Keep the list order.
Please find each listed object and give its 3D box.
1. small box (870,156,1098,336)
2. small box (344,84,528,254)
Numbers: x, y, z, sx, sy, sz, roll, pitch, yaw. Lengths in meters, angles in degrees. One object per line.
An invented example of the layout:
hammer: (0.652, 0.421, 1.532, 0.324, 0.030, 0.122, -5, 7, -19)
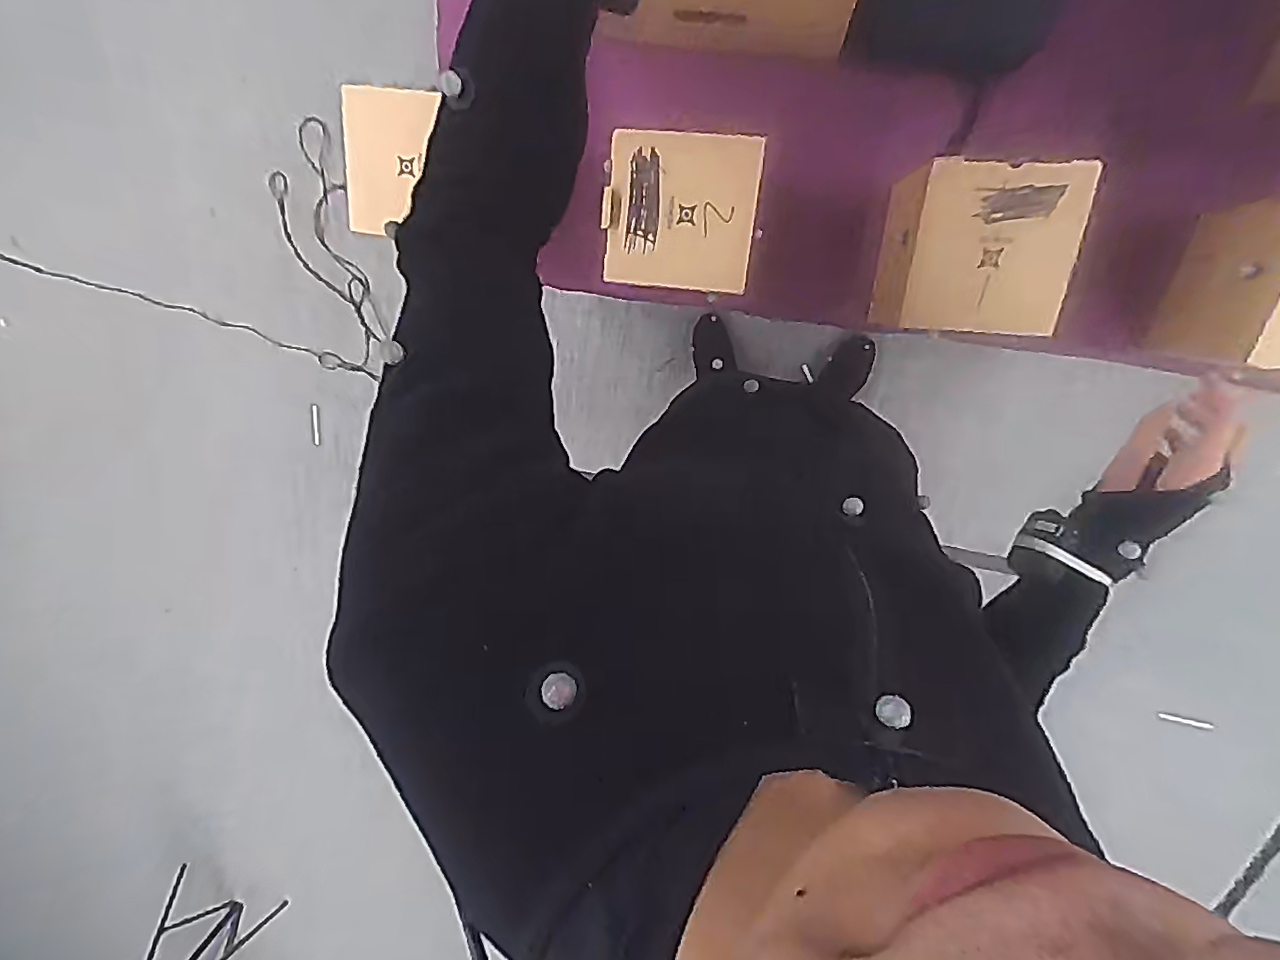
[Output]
small box: (0.397, -0.278, 0.664, 0.168, 0.176, 0.179, 6, 110, 9)
small box: (-0.269, -0.410, 0.741, 0.179, 0.176, 0.168, 9, 110, 6)
